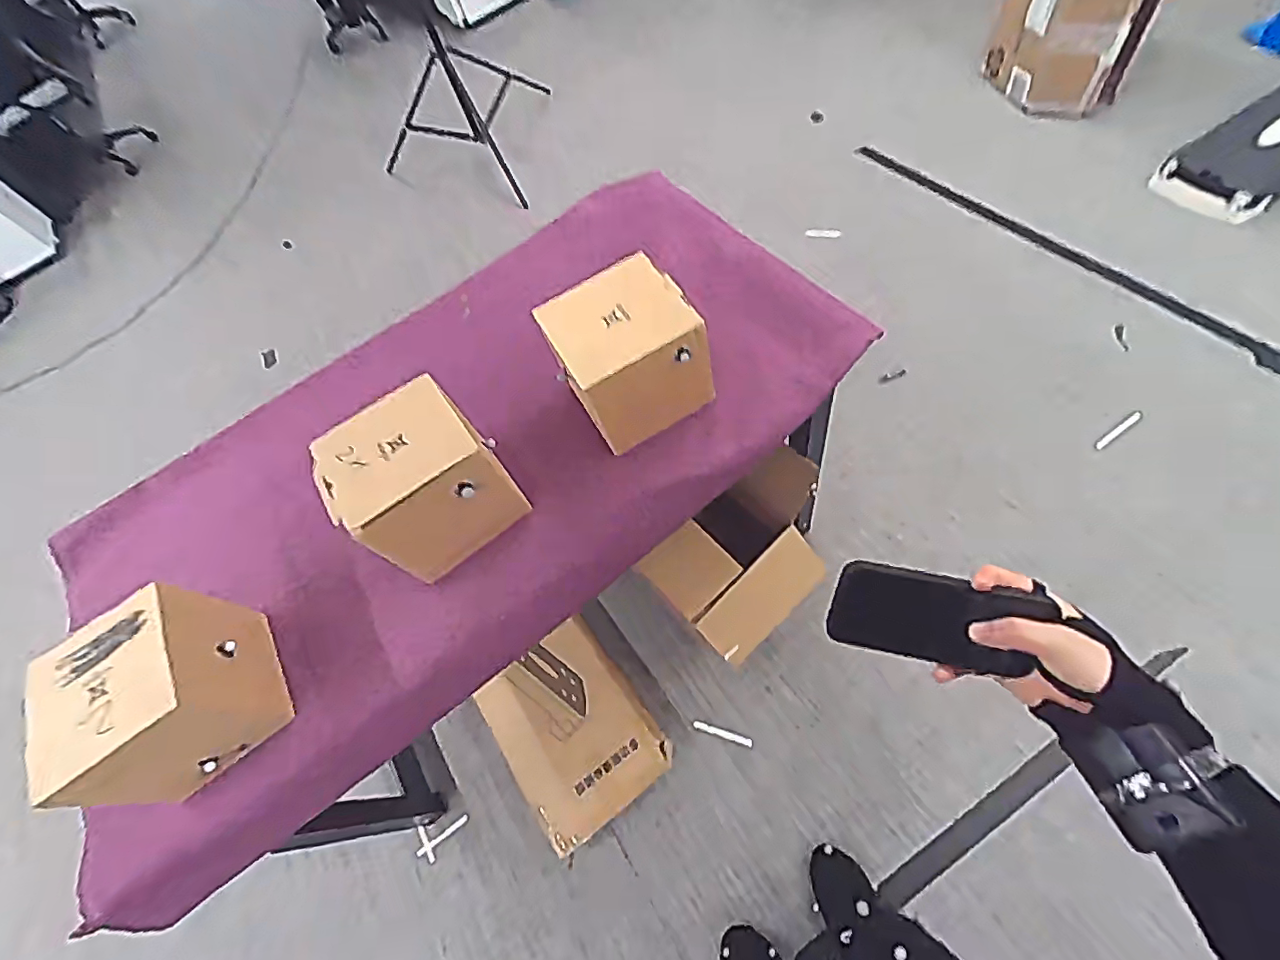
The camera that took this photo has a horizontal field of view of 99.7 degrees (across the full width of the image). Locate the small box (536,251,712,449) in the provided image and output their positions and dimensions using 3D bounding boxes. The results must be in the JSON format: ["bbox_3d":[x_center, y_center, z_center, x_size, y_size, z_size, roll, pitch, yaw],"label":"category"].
[{"bbox_3d":[-0.015,-0.174,0.762,0.179,0.176,0.168,-31,60,-5],"label":"small box"}]

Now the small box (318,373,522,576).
[{"bbox_3d":[-0.281,-0.002,0.728,0.179,0.176,0.168,-37,59,-8],"label":"small box"}]
